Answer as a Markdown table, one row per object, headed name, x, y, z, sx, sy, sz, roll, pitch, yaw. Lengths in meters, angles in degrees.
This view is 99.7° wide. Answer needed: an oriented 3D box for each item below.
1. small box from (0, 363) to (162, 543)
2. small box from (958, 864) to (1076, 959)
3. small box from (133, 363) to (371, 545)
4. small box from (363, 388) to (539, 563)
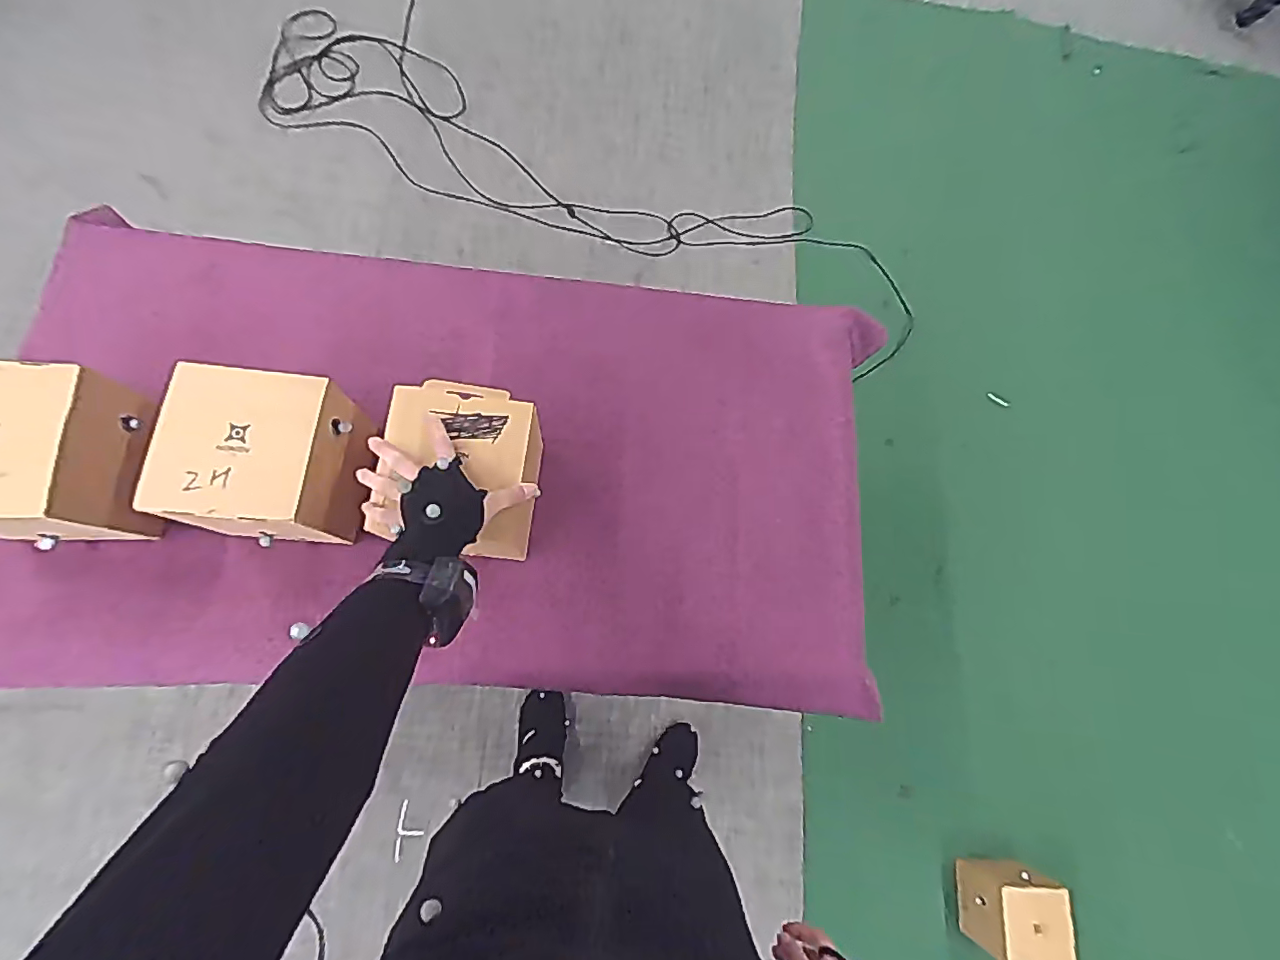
| name | x | y | z | sx | sy | sz | roll | pitch | yaw |
| --- | --- | --- | --- | --- | --- | --- | --- | --- | --- |
| small box | -0.706 | -0.024 | 0.647 | 0.168 | 0.176 | 0.179 | 1 | 76 | -6 |
| small box | 0.905 | 1.065 | 1.317 | 0.179 | 0.176 | 0.168 | 6 | 74 | -6 |
| small box | -0.459 | -0.022 | 0.676 | 0.168 | 0.176 | 0.179 | 6 | 75 | -5 |
| small box | -0.226 | 0.004 | 0.699 | 0.168 | 0.176 | 0.179 | 7 | 76 | -5 |
